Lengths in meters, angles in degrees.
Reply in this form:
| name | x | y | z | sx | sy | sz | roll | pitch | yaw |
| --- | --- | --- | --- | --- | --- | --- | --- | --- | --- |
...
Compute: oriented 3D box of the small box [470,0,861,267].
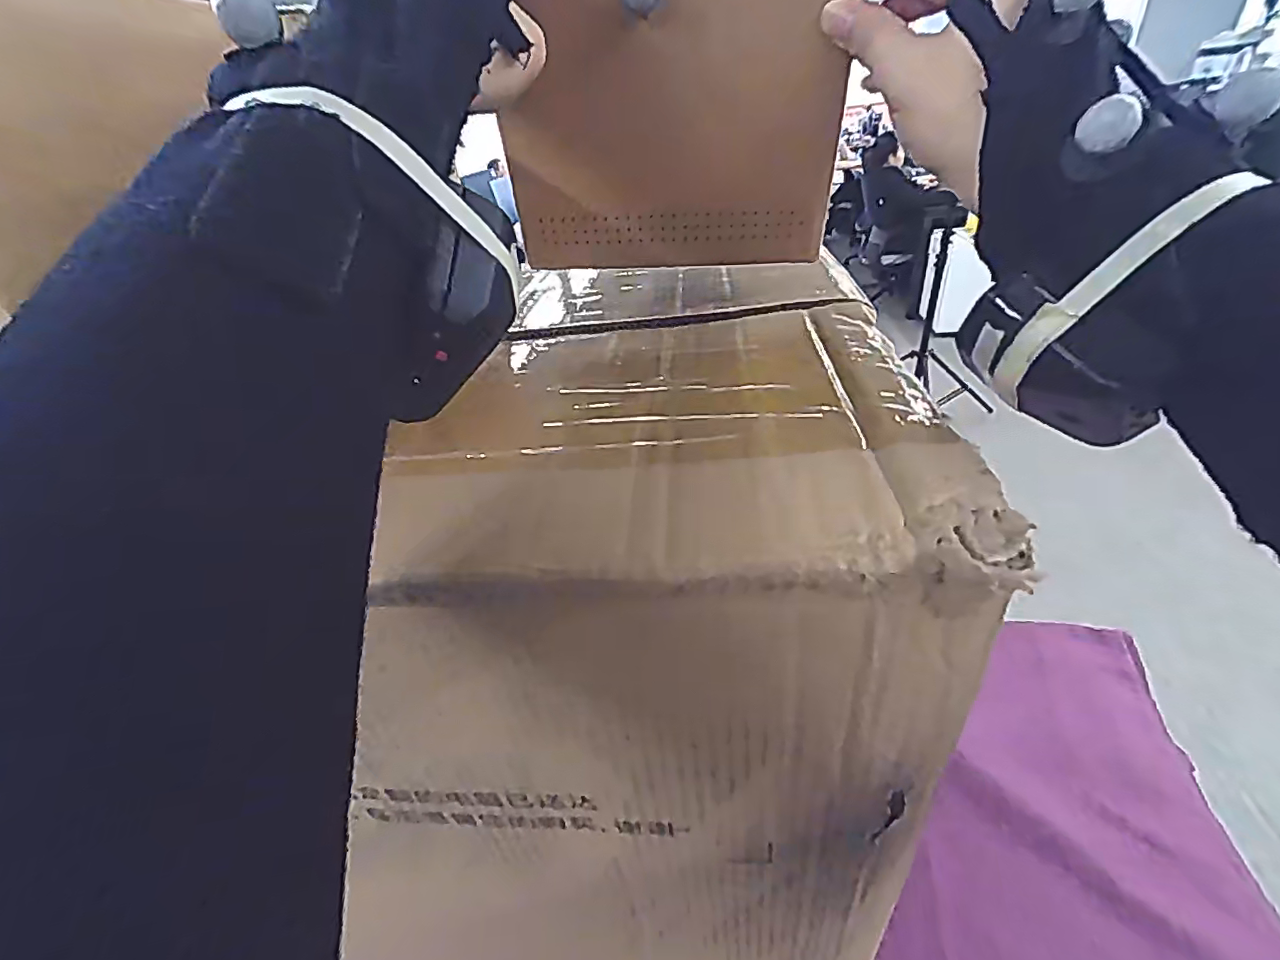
| name | x | y | z | sx | sy | sz | roll | pitch | yaw |
| --- | --- | --- | --- | --- | --- | --- | --- | --- | --- |
| small box | 0.022 | -0.241 | 0.315 | 0.179 | 0.176 | 0.168 | 1 | 48 | 9 |
